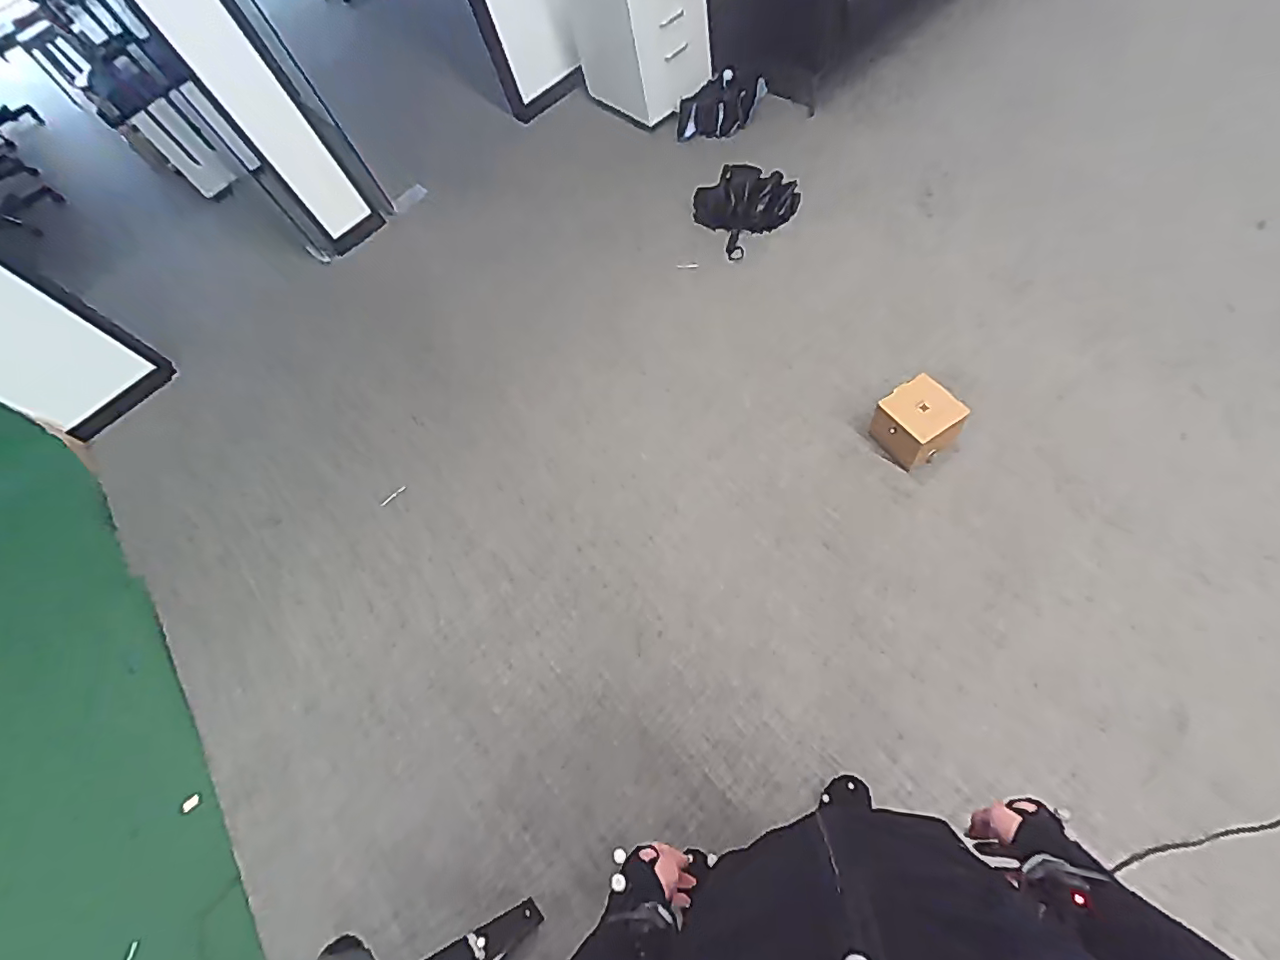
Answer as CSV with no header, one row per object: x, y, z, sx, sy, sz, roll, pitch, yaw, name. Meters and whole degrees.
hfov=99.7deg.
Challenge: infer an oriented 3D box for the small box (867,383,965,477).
0.791,-0.139,1.571,0.168,0.176,0.179,-32,62,-4,small box
